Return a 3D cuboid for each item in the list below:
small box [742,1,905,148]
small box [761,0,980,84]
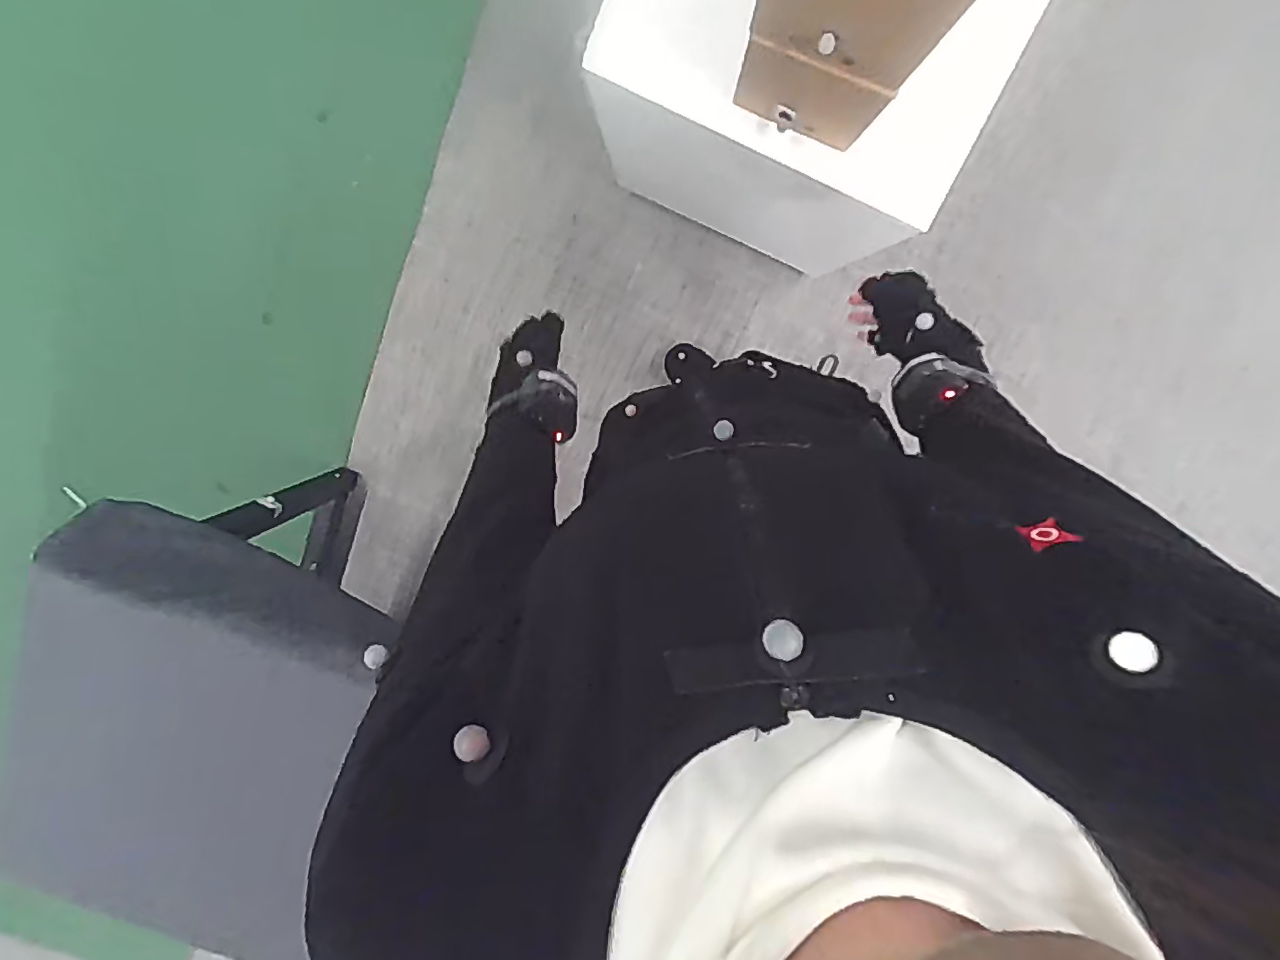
[{"bbox_3d":[0.222,-0.513,0.601,0.168,0.176,0.179,22,106,0],"label":"small box"},{"bbox_3d":[0.211,-0.479,0.441,0.168,0.176,0.179,18,103,0],"label":"small box"}]
